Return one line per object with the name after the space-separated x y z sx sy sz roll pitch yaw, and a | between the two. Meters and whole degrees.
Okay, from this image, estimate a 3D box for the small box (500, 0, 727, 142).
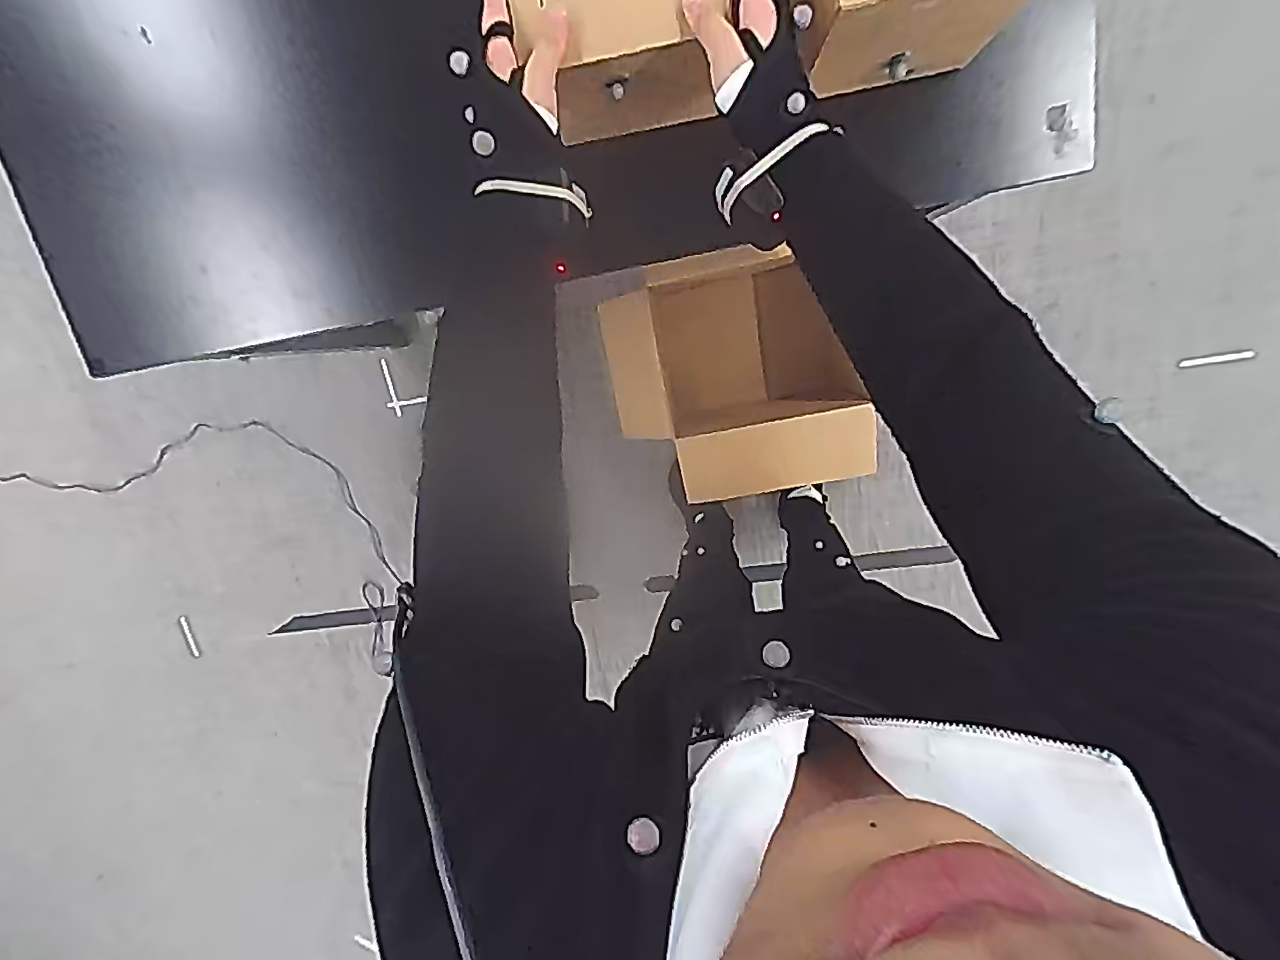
-0.021 -0.430 0.485 0.179 0.176 0.168 -7 104 6 | small box

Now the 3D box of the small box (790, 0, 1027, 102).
0.221 -0.463 0.454 0.168 0.176 0.179 -7 104 8 | small box
